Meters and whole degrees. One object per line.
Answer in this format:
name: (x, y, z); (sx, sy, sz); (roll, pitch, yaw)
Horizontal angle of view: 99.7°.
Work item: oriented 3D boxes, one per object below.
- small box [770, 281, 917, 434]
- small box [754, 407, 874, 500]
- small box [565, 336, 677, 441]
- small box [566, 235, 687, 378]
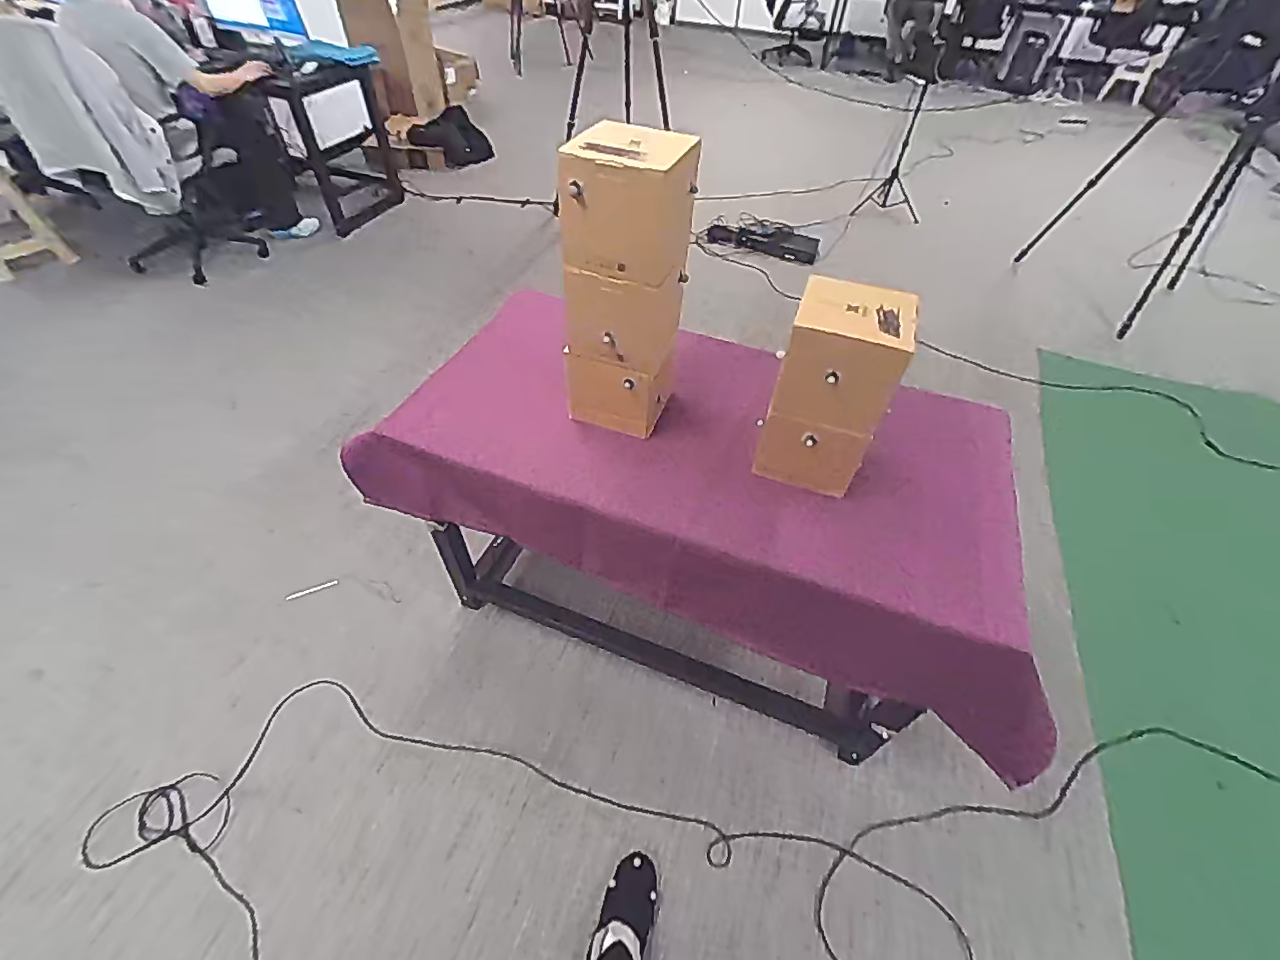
small box: (0.330, -0.197, 0.892); (0.179, 0.176, 0.168); (17, 50, 13)
small box: (0.326, -0.086, 1.012); (0.179, 0.176, 0.168); (18, 50, 13)
small box: (-0.038, -0.203, 1.103); (0.179, 0.176, 0.168); (17, 49, 11)
small box: (-0.024, -0.314, 0.983); (0.168, 0.176, 0.179); (16, 49, 11)
